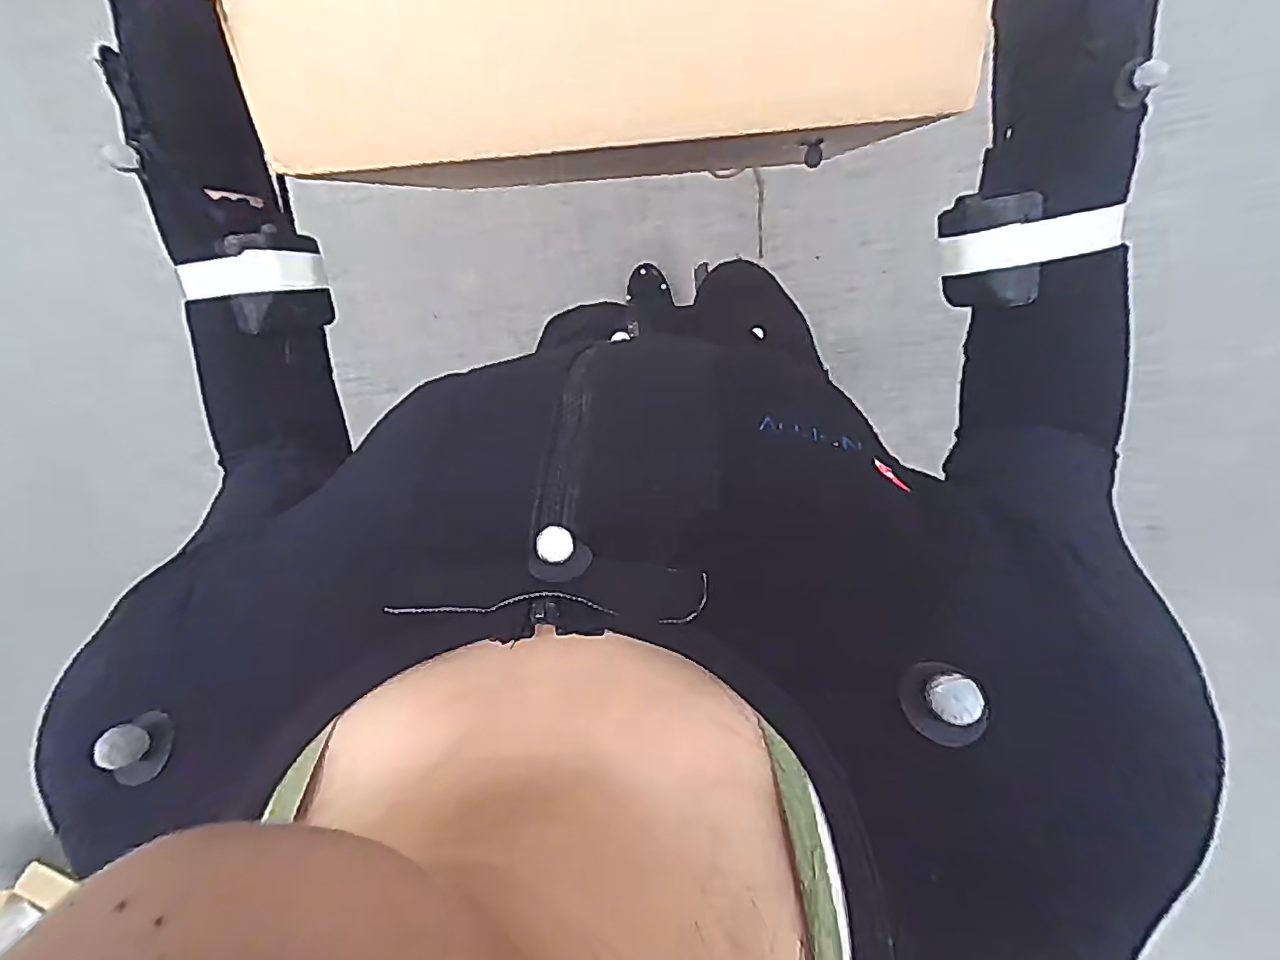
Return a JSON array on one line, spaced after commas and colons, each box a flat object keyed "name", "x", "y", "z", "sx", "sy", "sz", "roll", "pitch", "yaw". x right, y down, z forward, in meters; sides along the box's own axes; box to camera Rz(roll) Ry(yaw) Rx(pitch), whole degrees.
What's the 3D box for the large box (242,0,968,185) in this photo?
[{"name": "large box", "x": -0.021, "y": -0.406, "z": 0.389, "sx": 0.408, "sy": 0.320, "sz": 0.320, "roll": -2, "pitch": 116, "yaw": 5}]
